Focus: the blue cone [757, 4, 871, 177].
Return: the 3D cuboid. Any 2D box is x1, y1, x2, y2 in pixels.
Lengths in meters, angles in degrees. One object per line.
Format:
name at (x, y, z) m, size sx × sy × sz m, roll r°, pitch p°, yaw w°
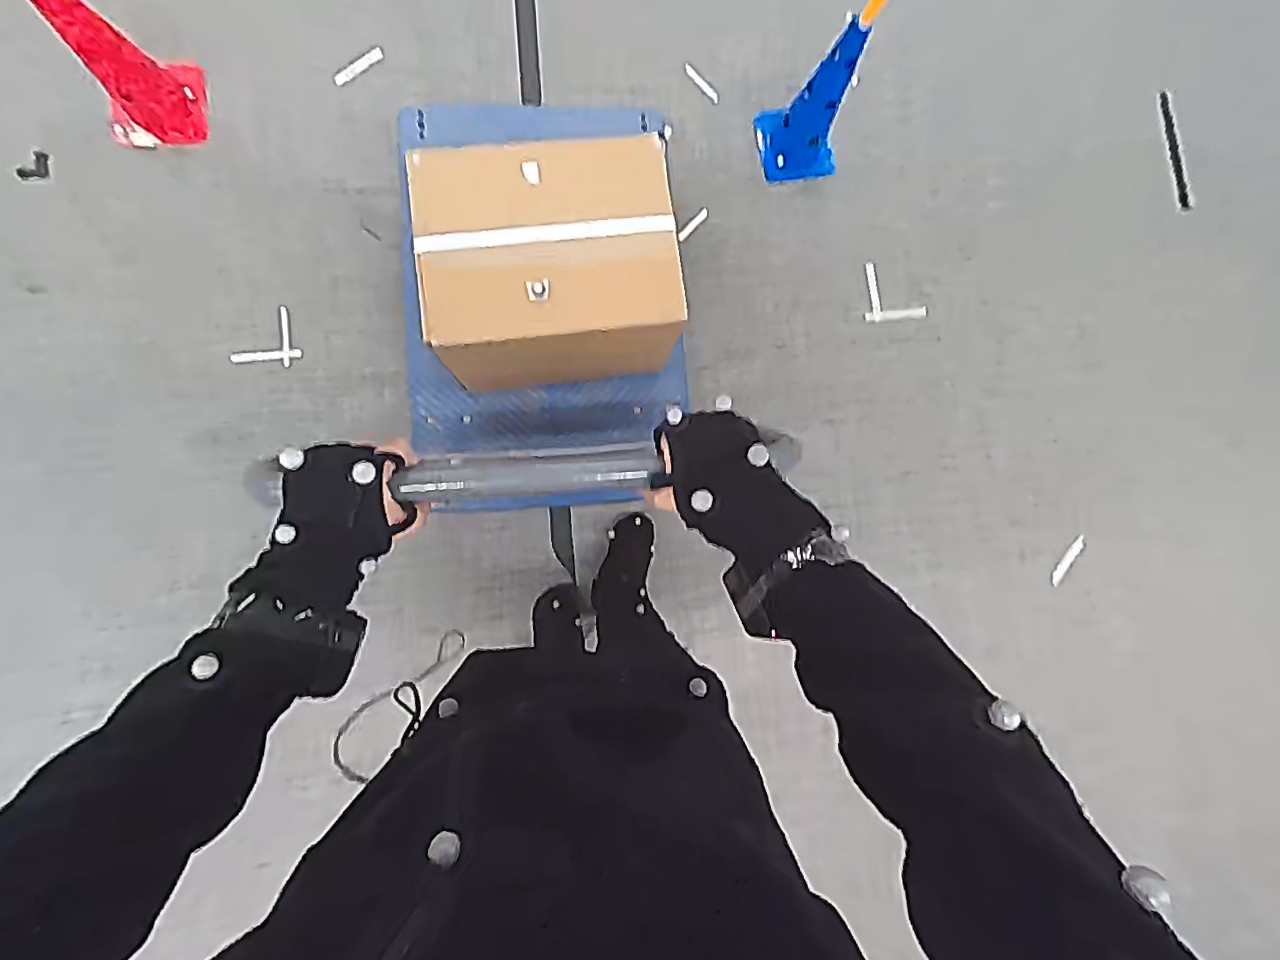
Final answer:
blue cone at (0.433, -0.912, 1.269) m, size 0.193 × 0.380 × 0.192 m, roll -9°, pitch 85°, yaw -7°
